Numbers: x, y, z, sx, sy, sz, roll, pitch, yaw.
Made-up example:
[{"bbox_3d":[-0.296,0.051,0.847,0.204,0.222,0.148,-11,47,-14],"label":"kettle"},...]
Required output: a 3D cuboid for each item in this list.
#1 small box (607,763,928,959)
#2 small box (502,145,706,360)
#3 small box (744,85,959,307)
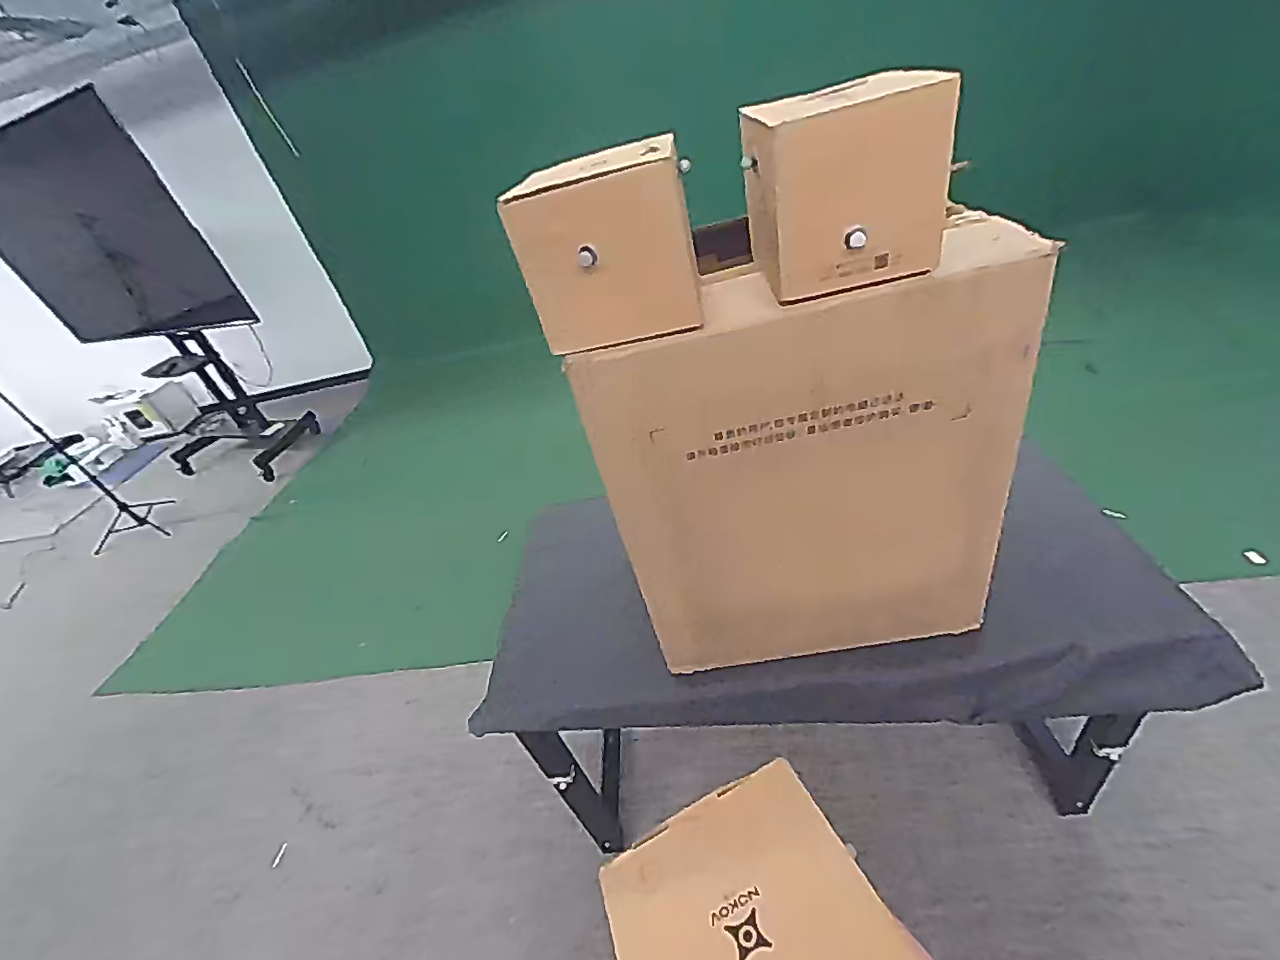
[{"bbox_3d":[0.099,0.349,0.368,0.168,0.176,0.179,-27,25,-8],"label":"small box"},{"bbox_3d":[-0.027,-0.256,0.620,0.179,0.176,0.168,-10,37,12],"label":"small box"},{"bbox_3d":[0.215,-0.310,0.592,0.168,0.176,0.179,-11,37,7],"label":"small box"}]
